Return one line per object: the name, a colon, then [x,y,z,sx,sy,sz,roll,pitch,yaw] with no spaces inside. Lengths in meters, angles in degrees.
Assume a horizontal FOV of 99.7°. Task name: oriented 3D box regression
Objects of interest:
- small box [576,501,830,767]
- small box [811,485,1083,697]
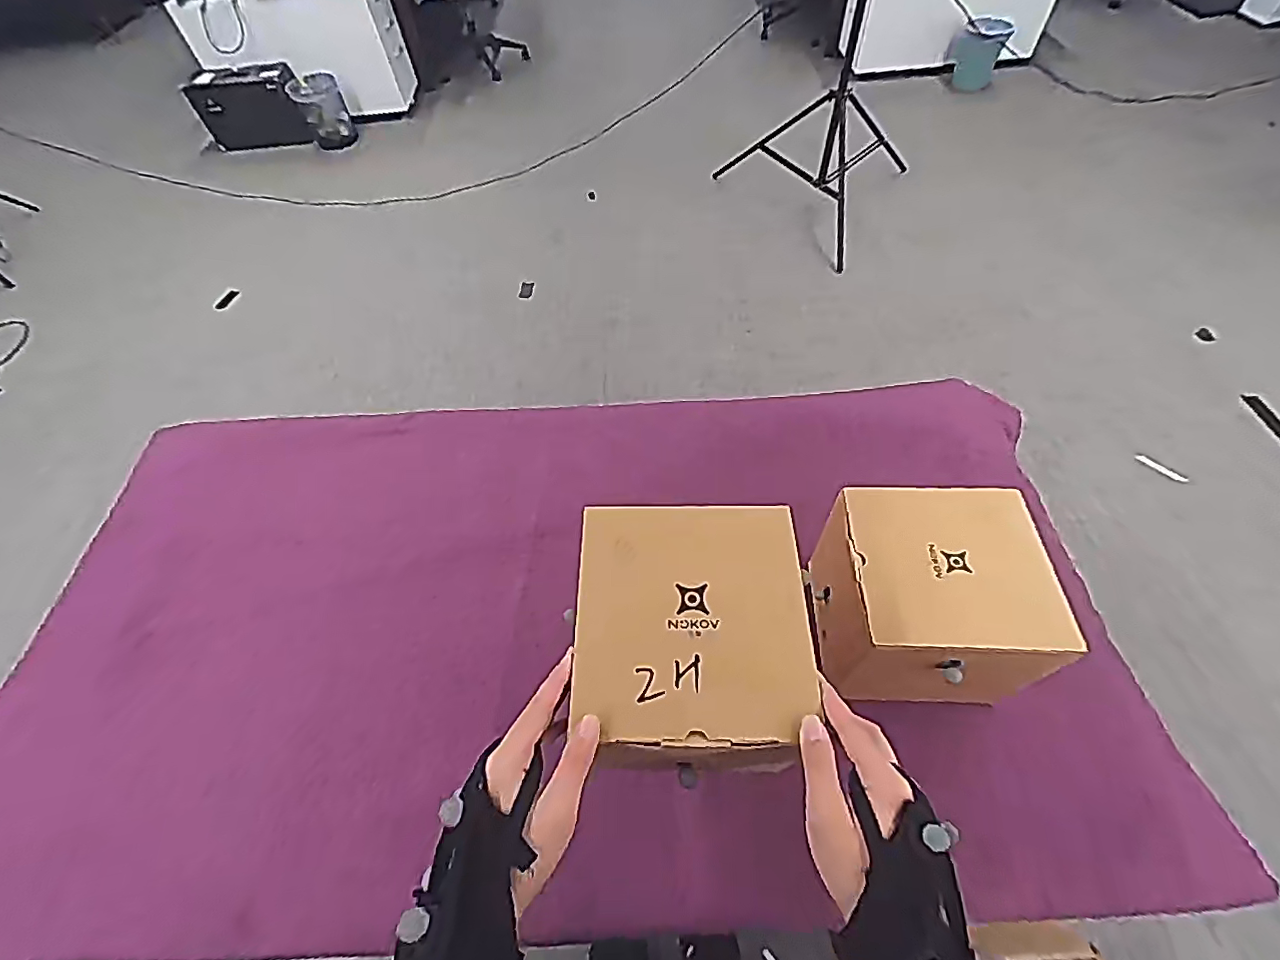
small box: [0.043,0.134,0.456,0.168,0.176,0.179,-1,57,2]
small box: [0.292,0.120,0.564,0.179,0.176,0.168,0,54,5]
